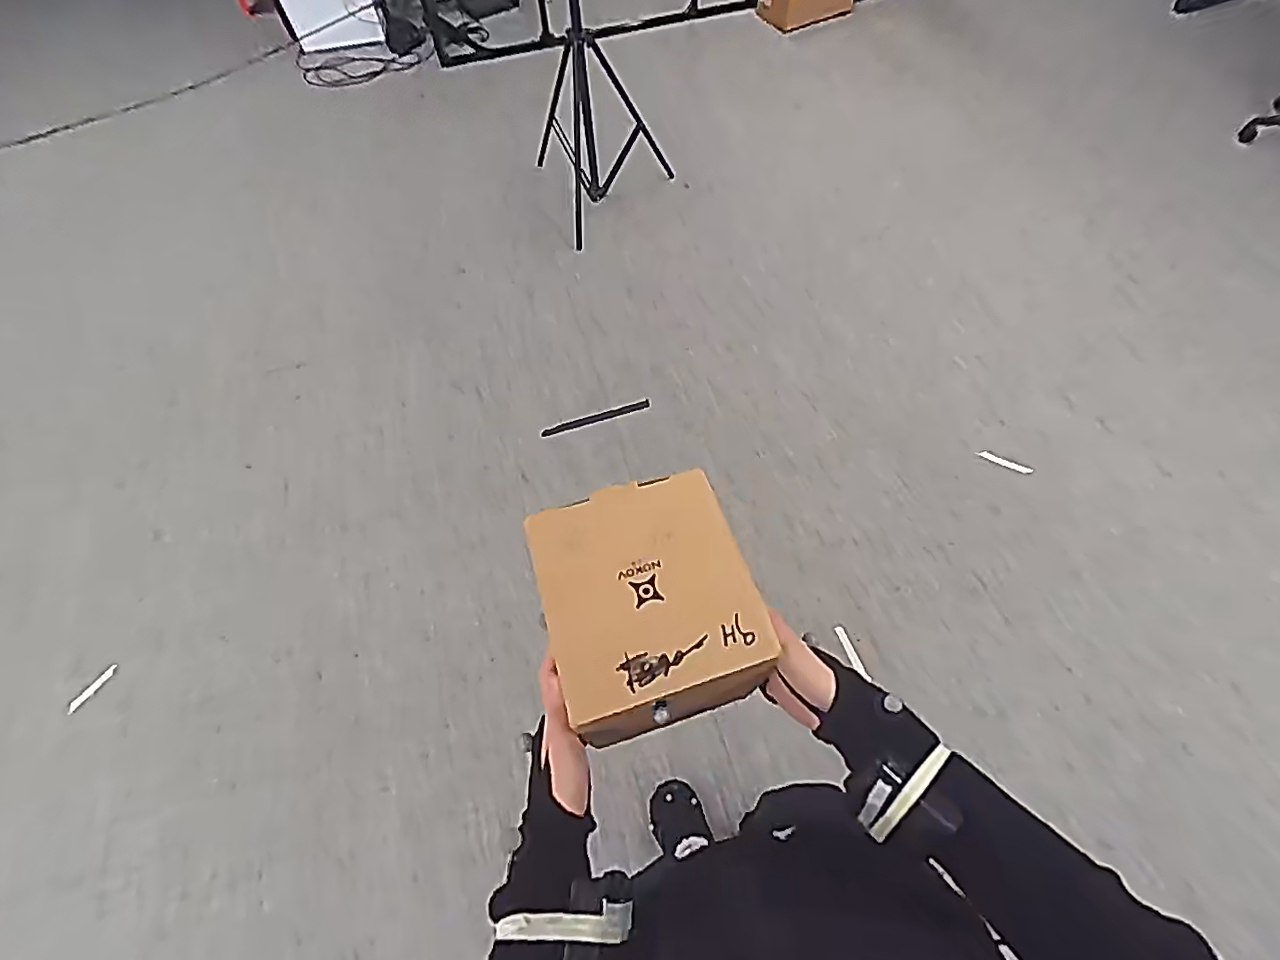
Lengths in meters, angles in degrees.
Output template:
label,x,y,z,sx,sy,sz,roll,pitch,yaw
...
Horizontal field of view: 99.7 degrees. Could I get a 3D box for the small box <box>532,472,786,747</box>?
label,x,y,z,sx,sy,sz,roll,pitch,yaw
small box,0.008,0.124,0.498,0.168,0.176,0.179,-16,59,-8
